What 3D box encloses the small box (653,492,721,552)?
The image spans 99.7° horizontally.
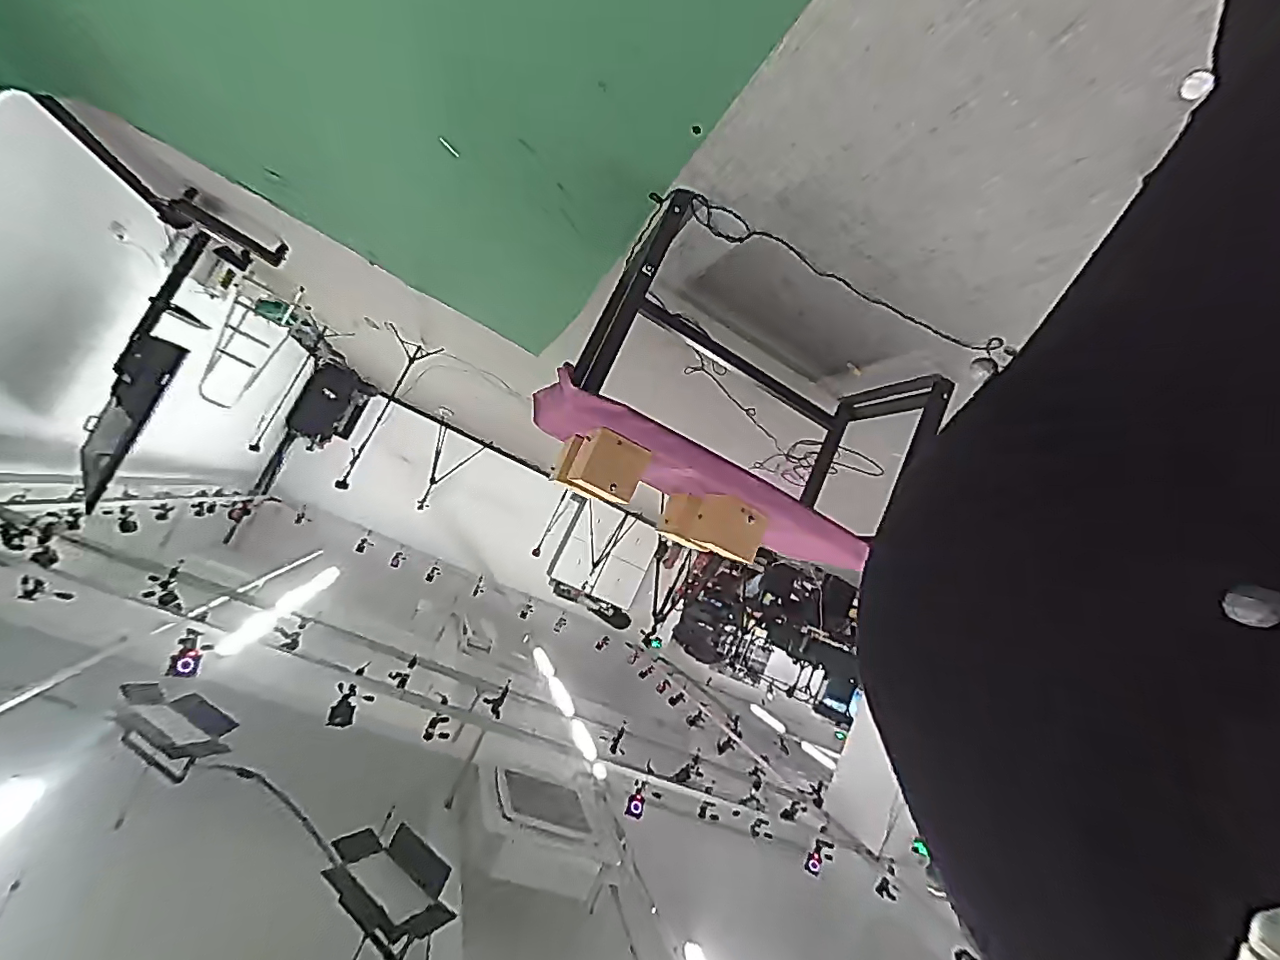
[{"bbox_3d":[0.180,0.153,2.027,0.168,0.176,0.179,28,169,-17],"label":"small box"}]

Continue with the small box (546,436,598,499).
[{"bbox_3d":[-0.211,-0.044,1.899,0.168,0.176,0.179,24,171,-17],"label":"small box"}]

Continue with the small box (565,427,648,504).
[{"bbox_3d":[-0.098,-0.046,1.600,0.168,0.176,0.179,26,173,-19],"label":"small box"}]
